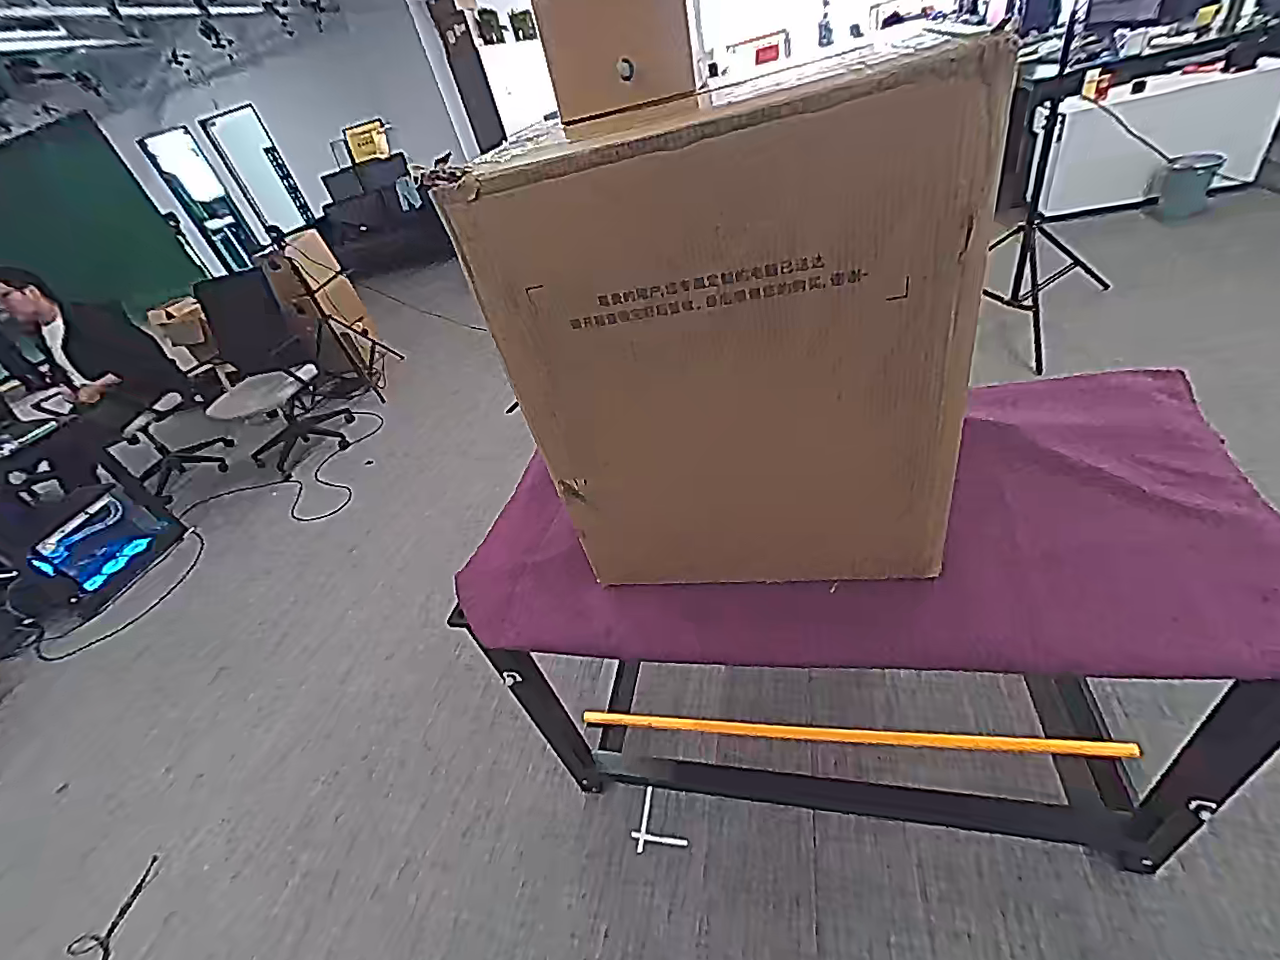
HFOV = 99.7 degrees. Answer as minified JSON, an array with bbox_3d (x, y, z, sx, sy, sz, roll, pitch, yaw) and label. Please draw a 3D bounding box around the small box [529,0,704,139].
[{"bbox_3d":[-0.023,-0.553,0.676,0.179,0.176,0.168,-3,39,17],"label":"small box"}]
